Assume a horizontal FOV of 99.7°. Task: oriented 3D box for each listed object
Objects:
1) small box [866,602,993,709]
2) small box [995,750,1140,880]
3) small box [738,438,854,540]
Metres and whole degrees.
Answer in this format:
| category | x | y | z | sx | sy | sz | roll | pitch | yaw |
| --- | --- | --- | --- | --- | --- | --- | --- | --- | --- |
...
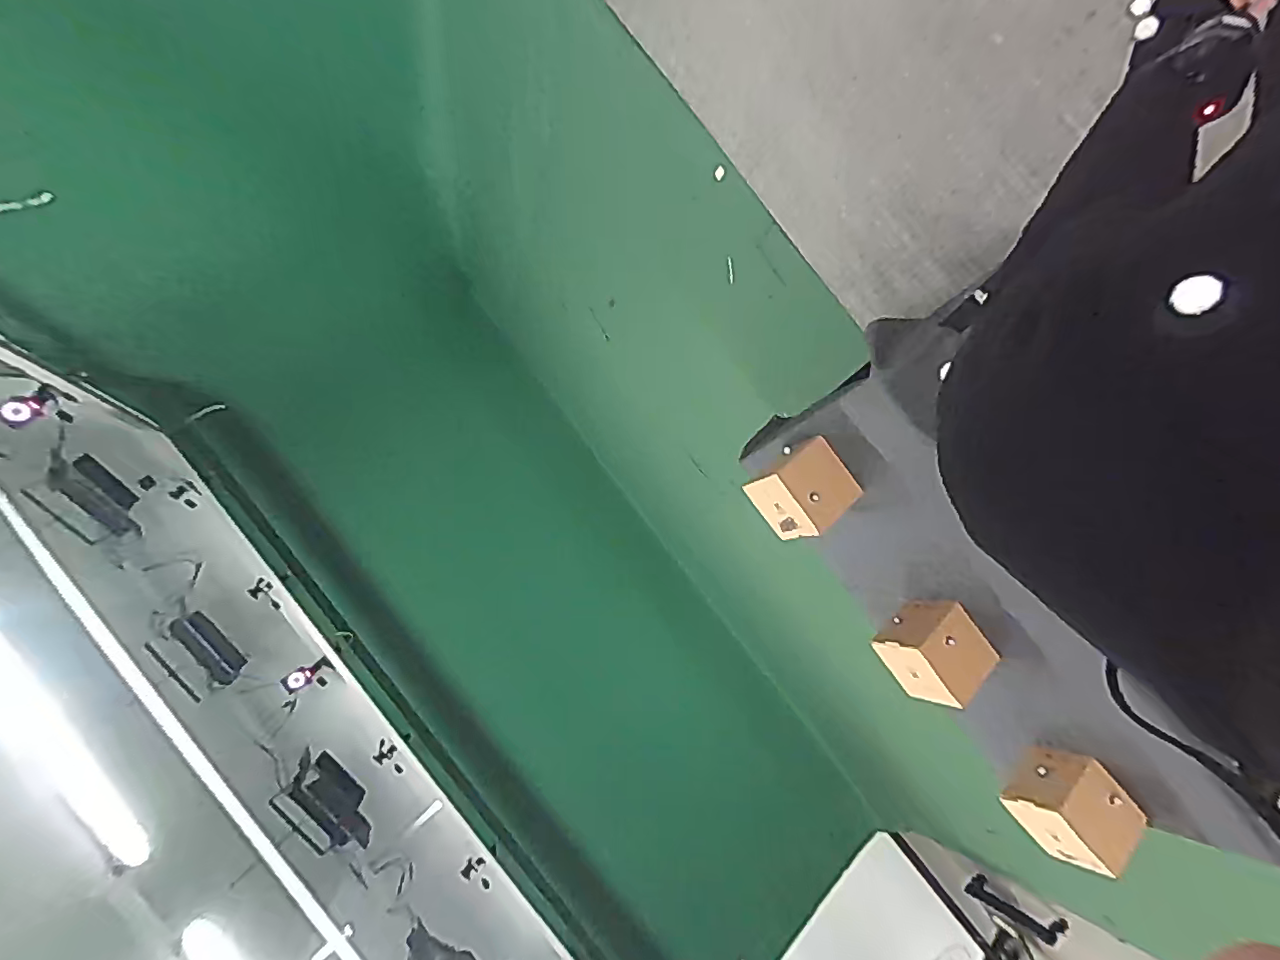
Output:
| category | x | y | z | sx | sy | sz | roll | pitch | yaw |
| --- | --- | --- | --- | --- | --- | --- | --- | --- | --- |
| small box | 0.700 | 0.414 | 1.311 | 0.179 | 0.176 | 0.168 | 51 | 161 | -1 |
| small box | 0.994 | 0.766 | 1.263 | 0.179 | 0.176 | 0.168 | 51 | 159 | 7 |
| small box | 0.383 | 0.025 | 1.324 | 0.179 | 0.176 | 0.168 | 53 | 159 | -2 |
